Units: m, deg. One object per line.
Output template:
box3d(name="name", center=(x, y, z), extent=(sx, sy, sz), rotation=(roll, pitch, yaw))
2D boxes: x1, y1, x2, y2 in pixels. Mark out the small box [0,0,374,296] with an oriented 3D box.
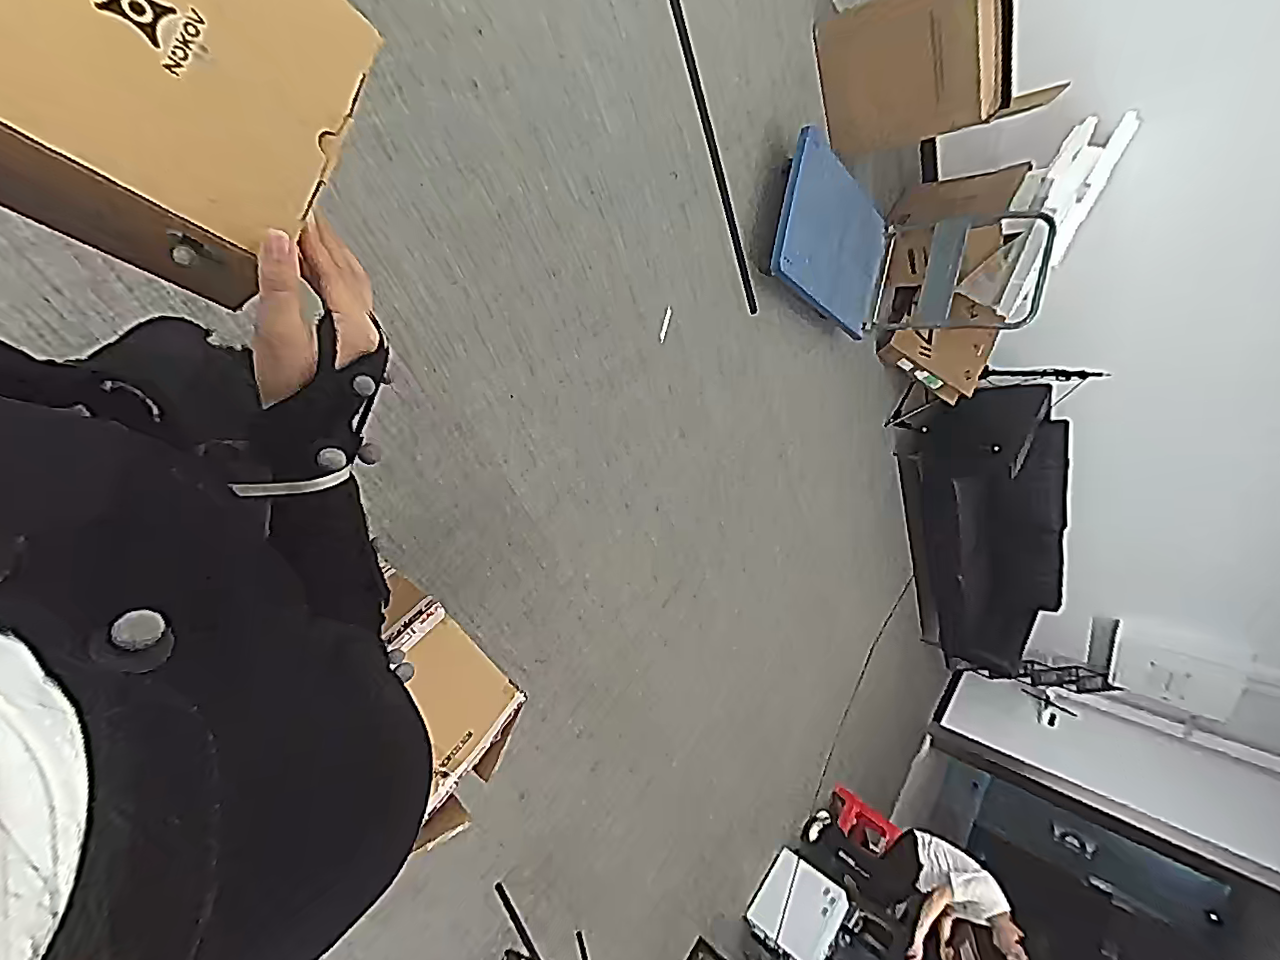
box3d(name="small box", center=(-0.301, -0.231, 0.322), extent=(0.179, 0.176, 0.168), rotation=(25, 77, -44))
